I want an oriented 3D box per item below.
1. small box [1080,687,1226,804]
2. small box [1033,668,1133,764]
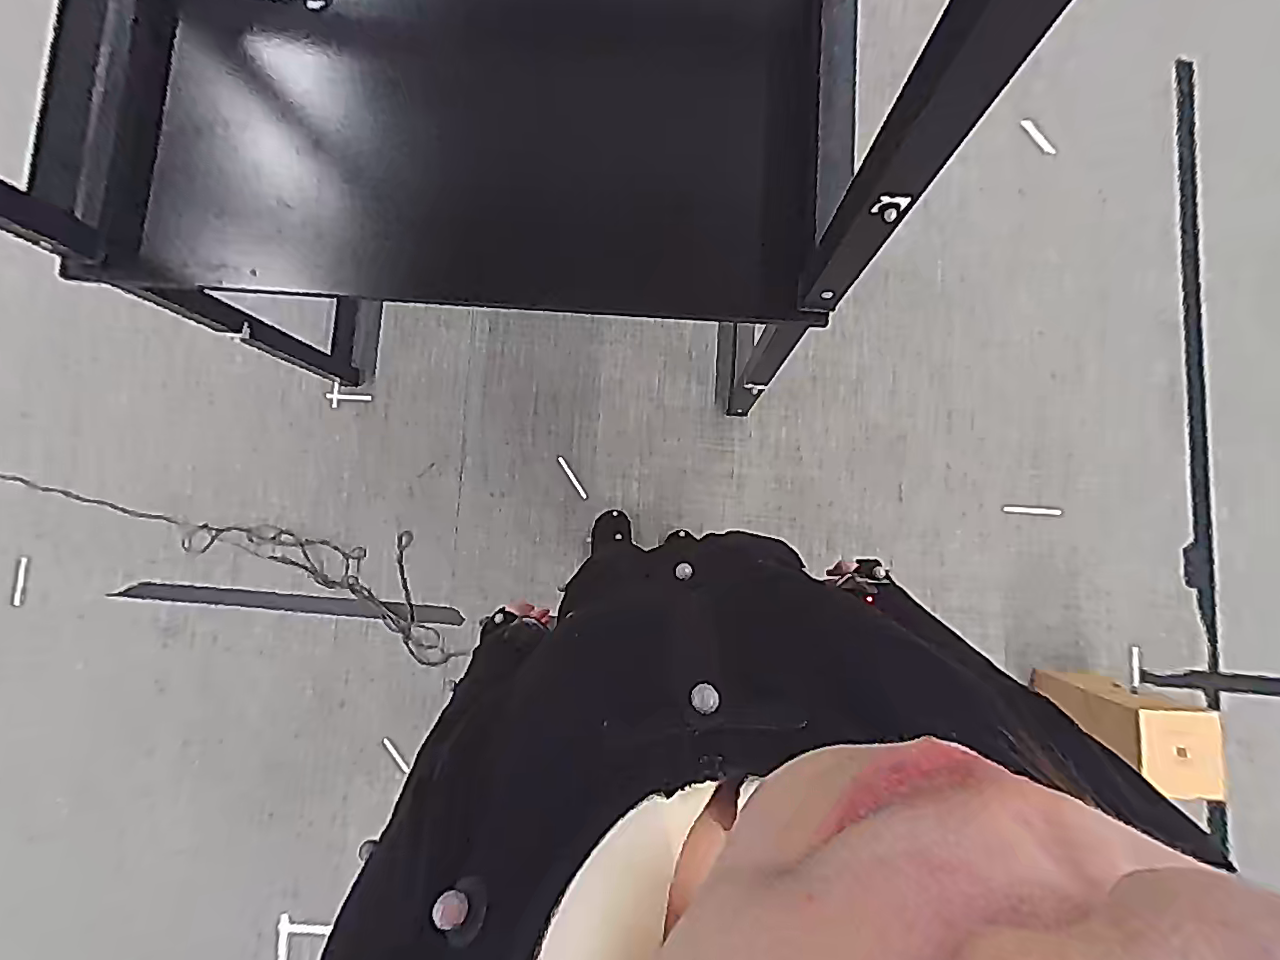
[{"bbox_3d":[1.109,0.572,1.182,0.168,0.176,0.179,2,85,2],"label":"small box"},{"bbox_3d":[1.118,0.586,1.345,0.168,0.176,0.179,3,87,2],"label":"small box"}]
